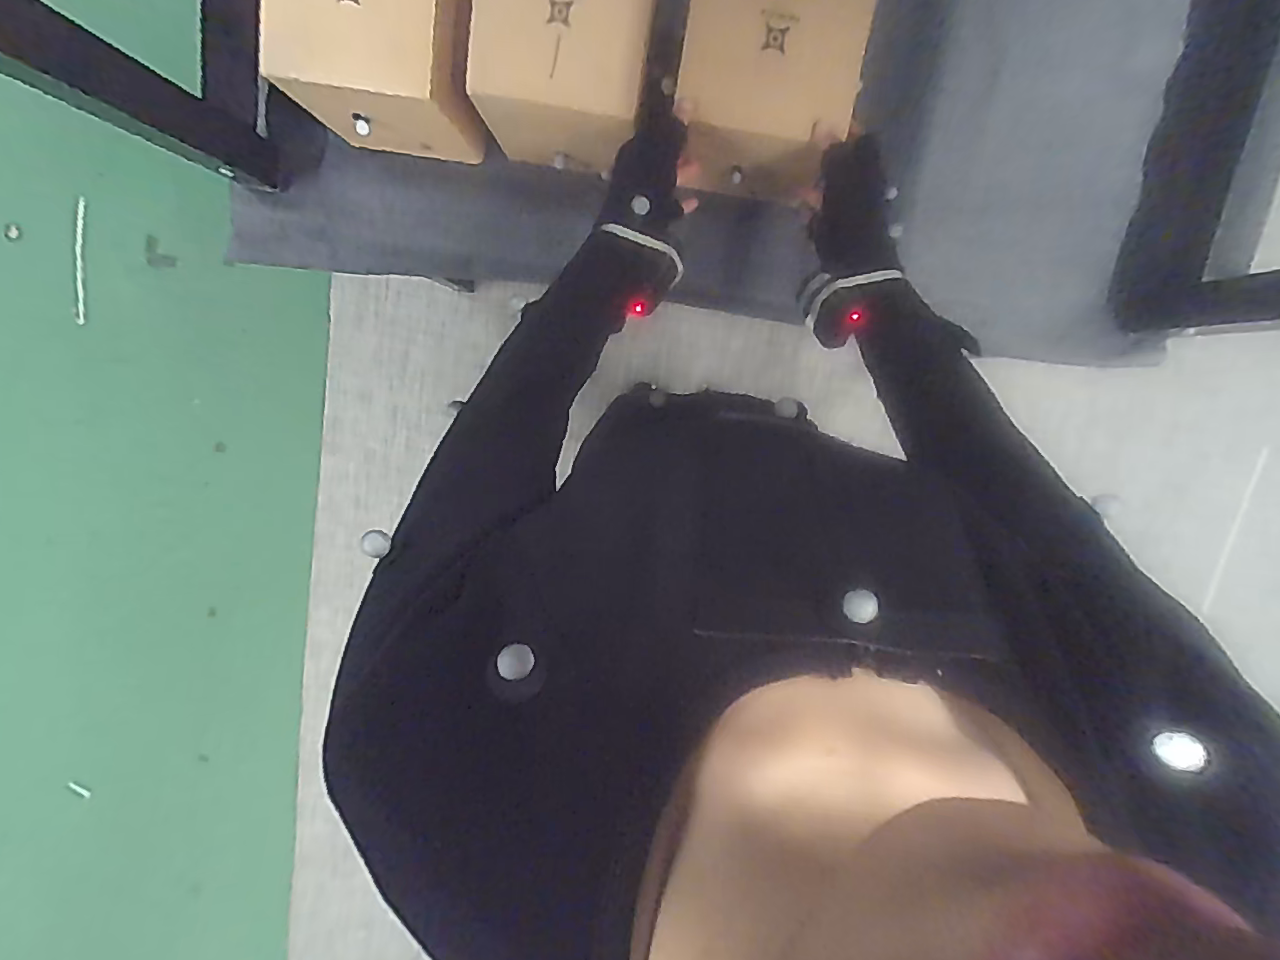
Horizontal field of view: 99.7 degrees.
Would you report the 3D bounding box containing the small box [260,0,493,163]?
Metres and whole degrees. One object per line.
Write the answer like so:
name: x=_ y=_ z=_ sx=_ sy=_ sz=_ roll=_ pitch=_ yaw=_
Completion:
small box: x=-0.265 y=-0.469 z=0.578 sx=0.168 sy=0.176 sz=0.179 roll=9 pitch=100 yaw=0
